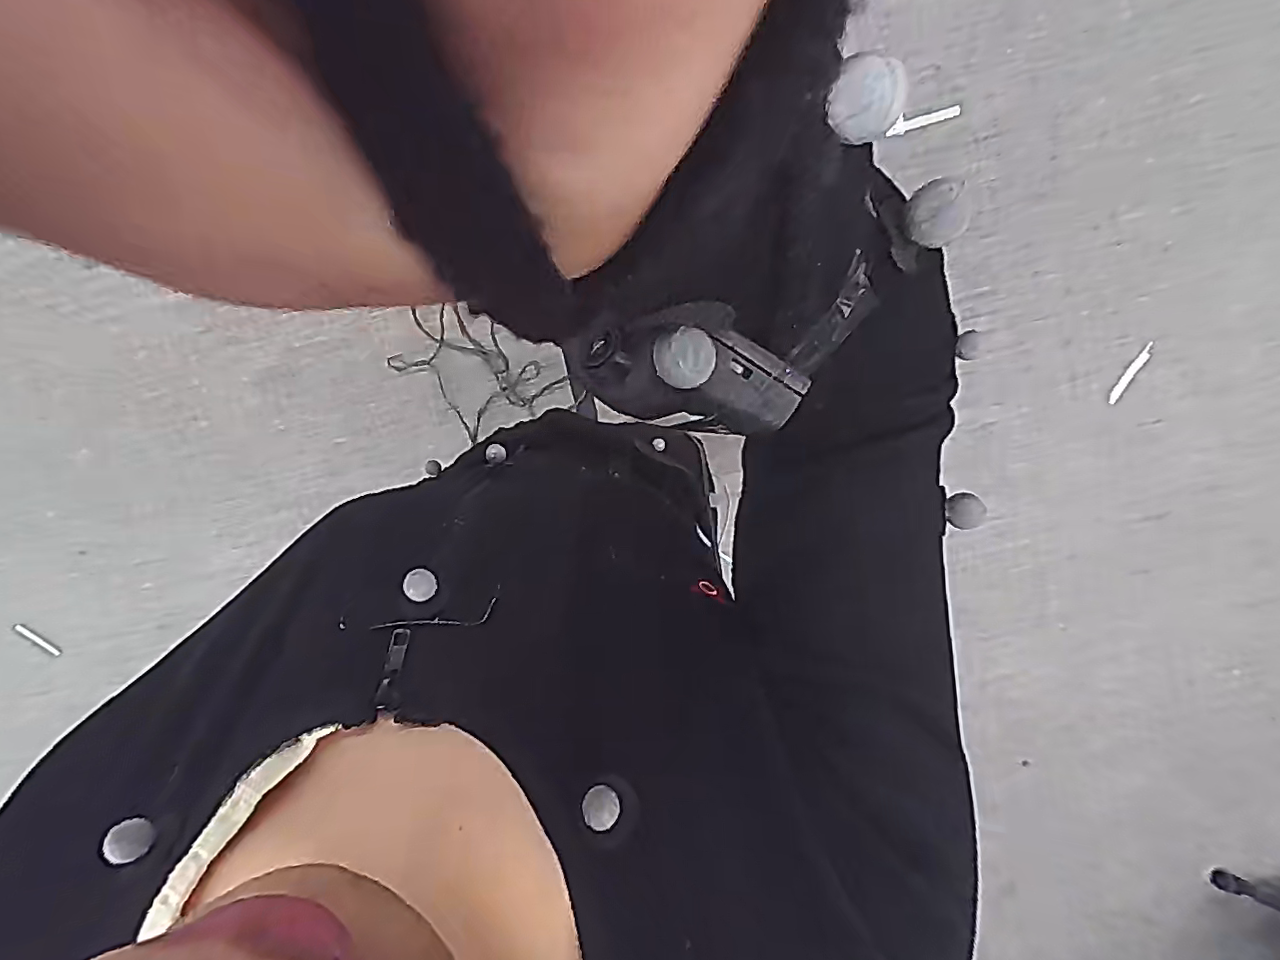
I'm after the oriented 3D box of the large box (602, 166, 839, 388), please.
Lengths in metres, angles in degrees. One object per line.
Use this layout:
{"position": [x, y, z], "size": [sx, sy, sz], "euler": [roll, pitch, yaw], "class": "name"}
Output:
{"position": [0.156, -0.405, 1.175], "size": [0.408, 0.320, 0.320], "euler": [-14, 97, 2], "class": "large box"}
